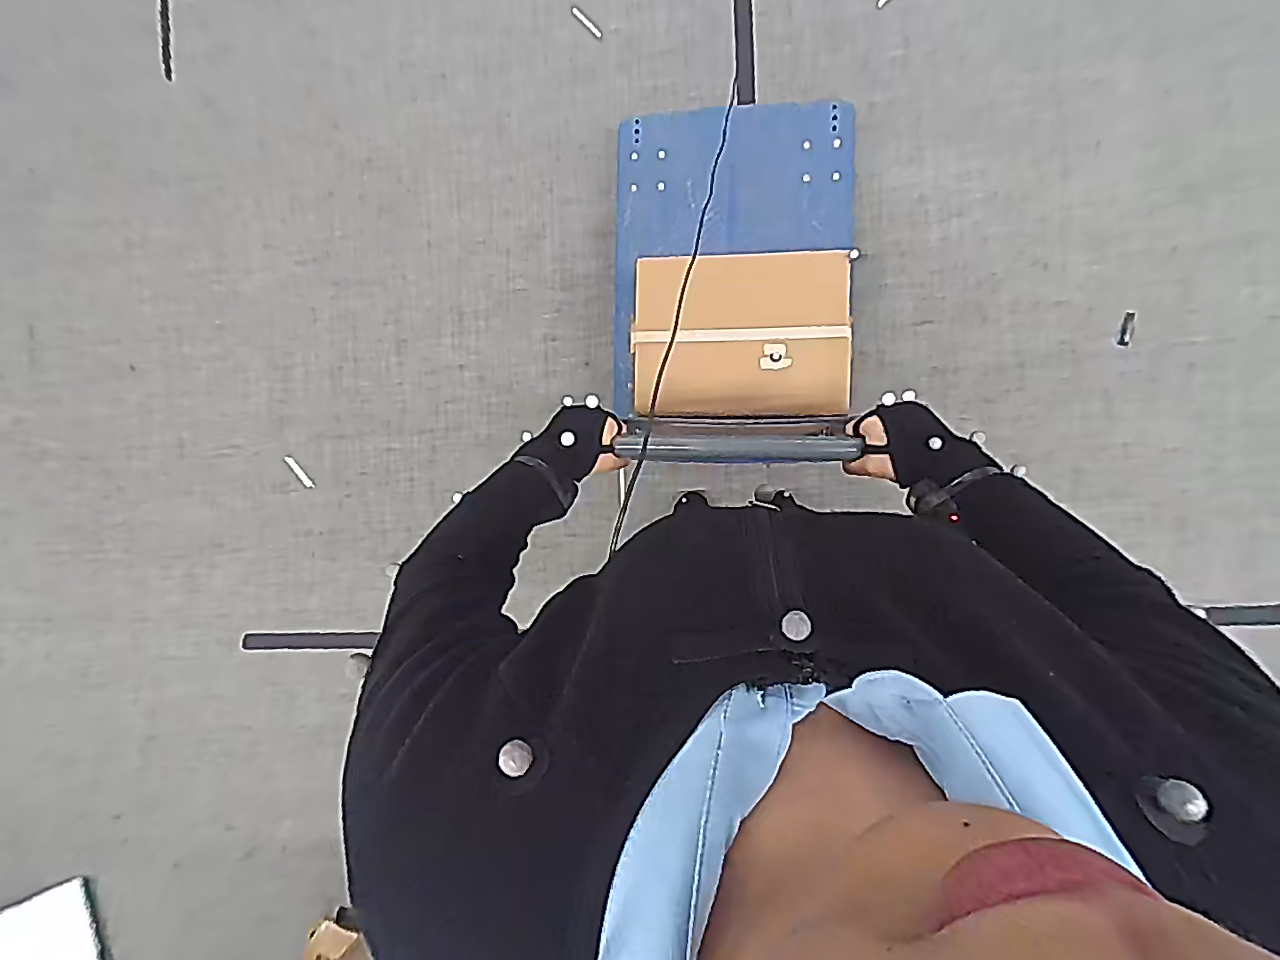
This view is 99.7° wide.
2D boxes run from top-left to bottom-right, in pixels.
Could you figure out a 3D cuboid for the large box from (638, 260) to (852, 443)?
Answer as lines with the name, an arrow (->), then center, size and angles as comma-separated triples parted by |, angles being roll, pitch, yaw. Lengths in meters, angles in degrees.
large box -> 0.210, -0.251, 1.168 | 0.408, 0.320, 0.320 | 1, 90, 7
